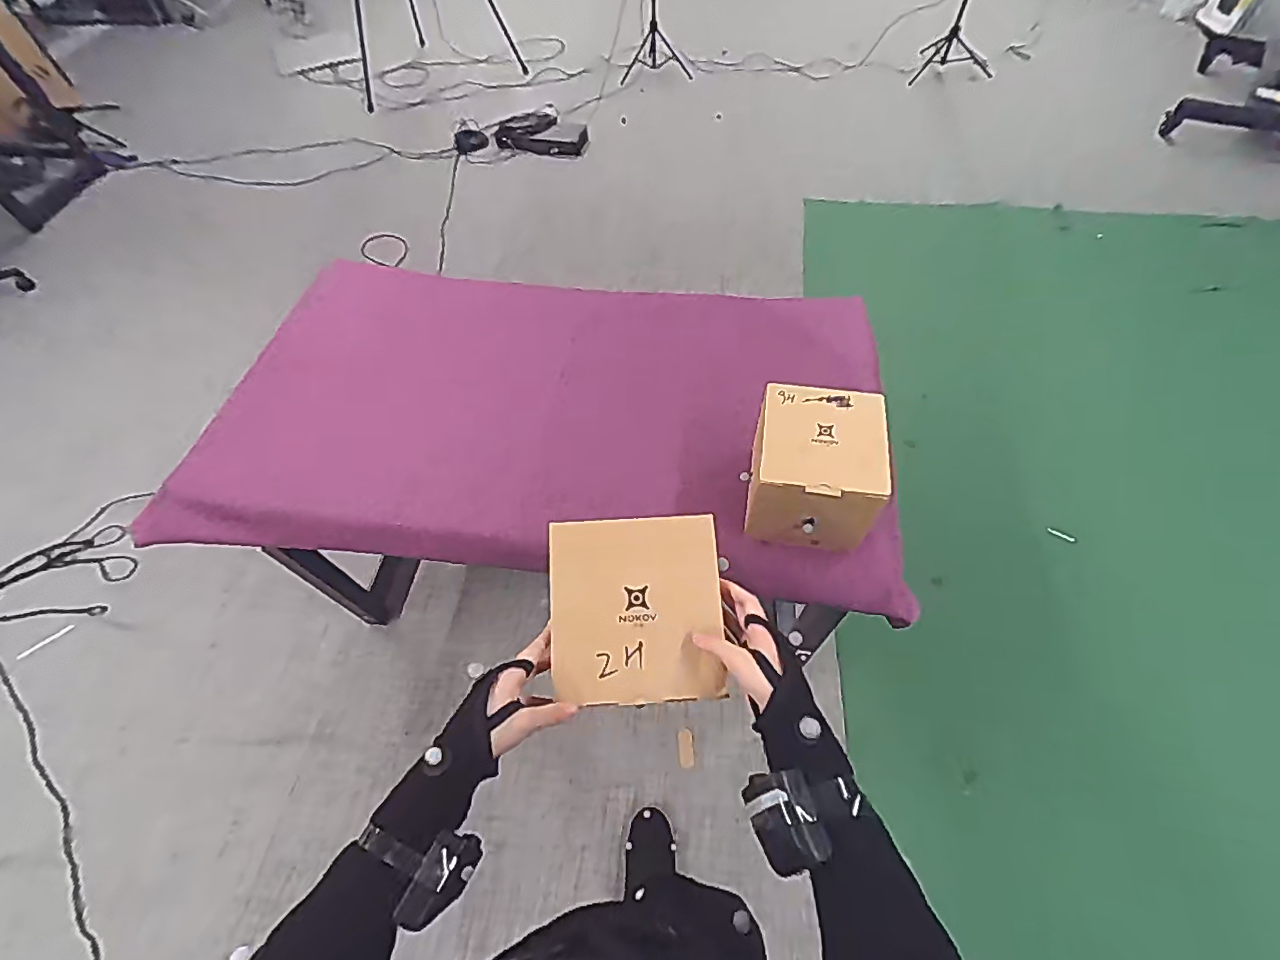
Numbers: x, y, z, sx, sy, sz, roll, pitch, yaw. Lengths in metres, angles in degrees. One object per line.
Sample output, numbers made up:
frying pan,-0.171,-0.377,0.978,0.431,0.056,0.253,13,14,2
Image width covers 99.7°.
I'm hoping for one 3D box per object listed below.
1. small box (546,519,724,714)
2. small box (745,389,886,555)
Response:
small box,-0.008,0.148,0.591,0.168,0.176,0.179,-3,75,0
small box,0.249,-0.006,0.792,0.168,0.176,0.179,8,59,8
